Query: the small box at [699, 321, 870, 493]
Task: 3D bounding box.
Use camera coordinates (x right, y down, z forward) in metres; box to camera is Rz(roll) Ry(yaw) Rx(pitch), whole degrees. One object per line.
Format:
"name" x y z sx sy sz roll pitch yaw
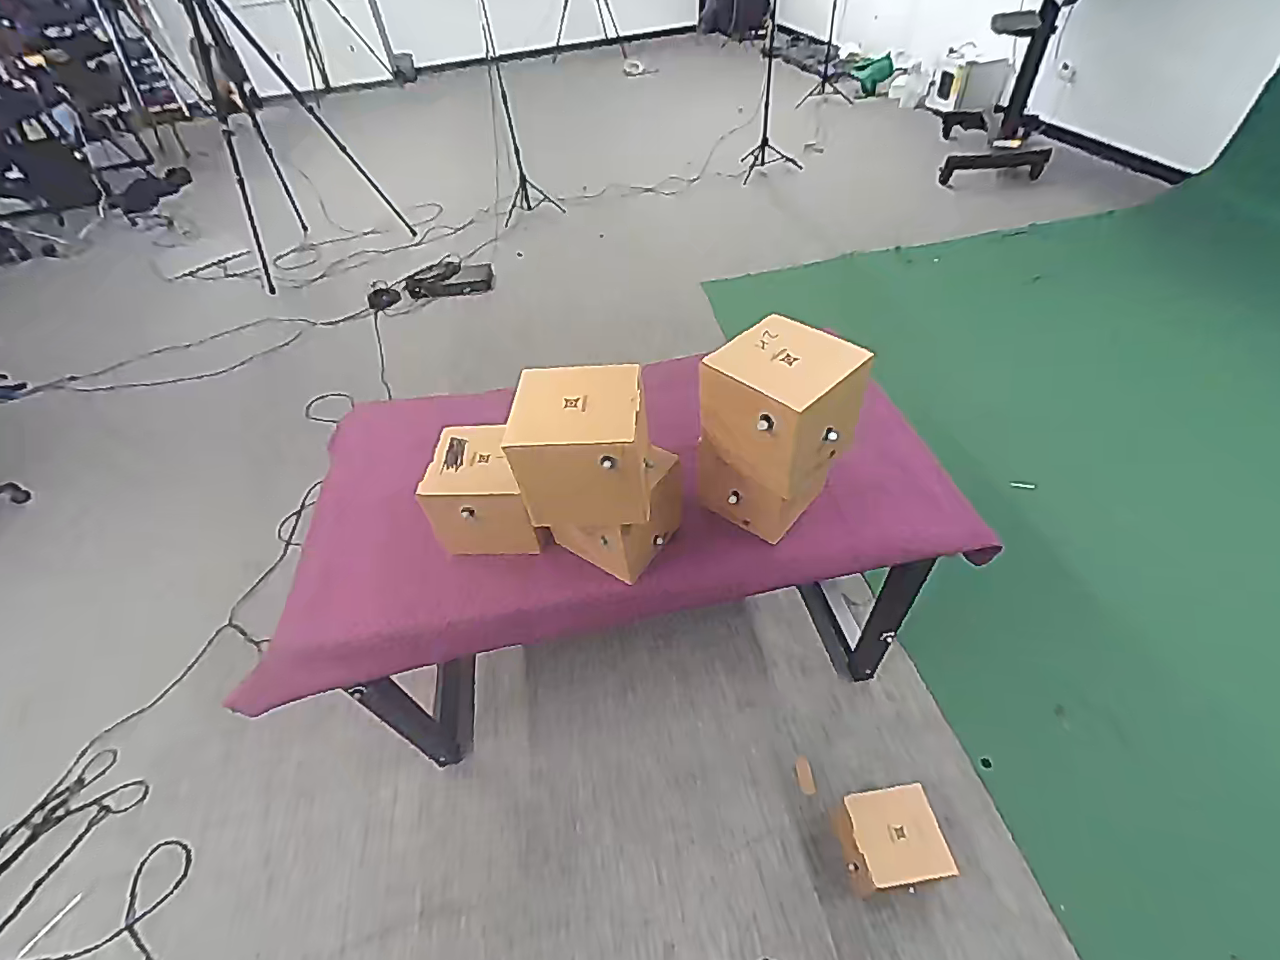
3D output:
"small box" 0.207 -0.105 0.809 0.168 0.176 0.179 -35 51 -25

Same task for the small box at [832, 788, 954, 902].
"small box" 0.528 0.790 1.166 0.179 0.176 0.168 -8 47 -2

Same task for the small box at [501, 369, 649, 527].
"small box" -0.082 -0.043 0.788 0.179 0.176 0.168 -2 47 4

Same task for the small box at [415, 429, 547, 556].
"small box" -0.265 0.025 0.970 0.179 0.176 0.168 -1 47 5

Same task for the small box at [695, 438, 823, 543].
"small box" 0.216 -0.020 0.956 0.168 0.176 0.179 30 57 30
